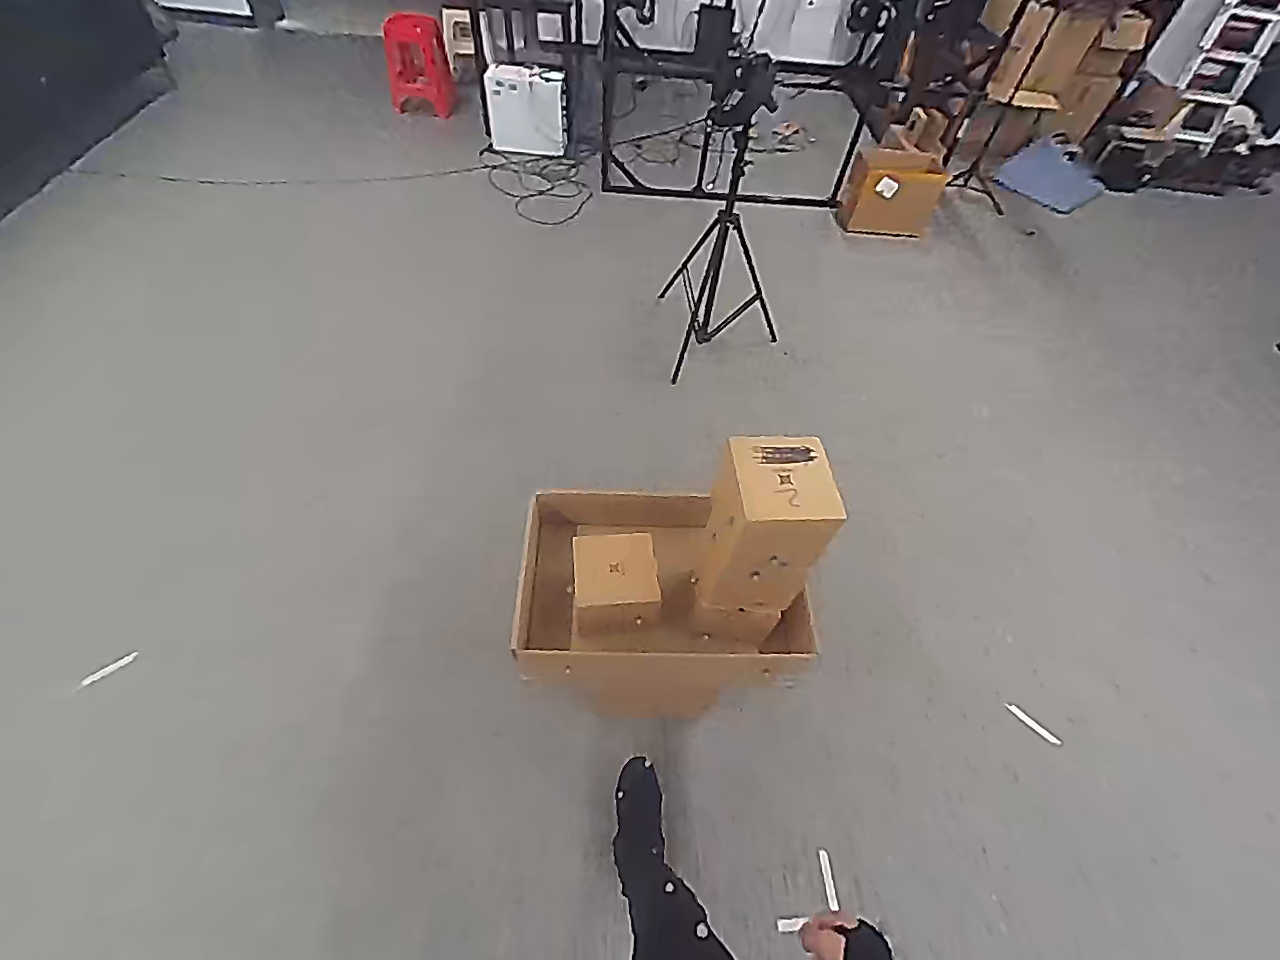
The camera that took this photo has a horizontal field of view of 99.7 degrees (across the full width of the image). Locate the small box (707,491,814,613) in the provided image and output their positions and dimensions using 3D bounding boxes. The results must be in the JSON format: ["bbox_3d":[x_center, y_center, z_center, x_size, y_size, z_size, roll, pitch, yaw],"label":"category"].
[{"bbox_3d":[0.230,0.145,1.081,0.168,0.176,0.179,4,52,-2],"label":"small box"}]
